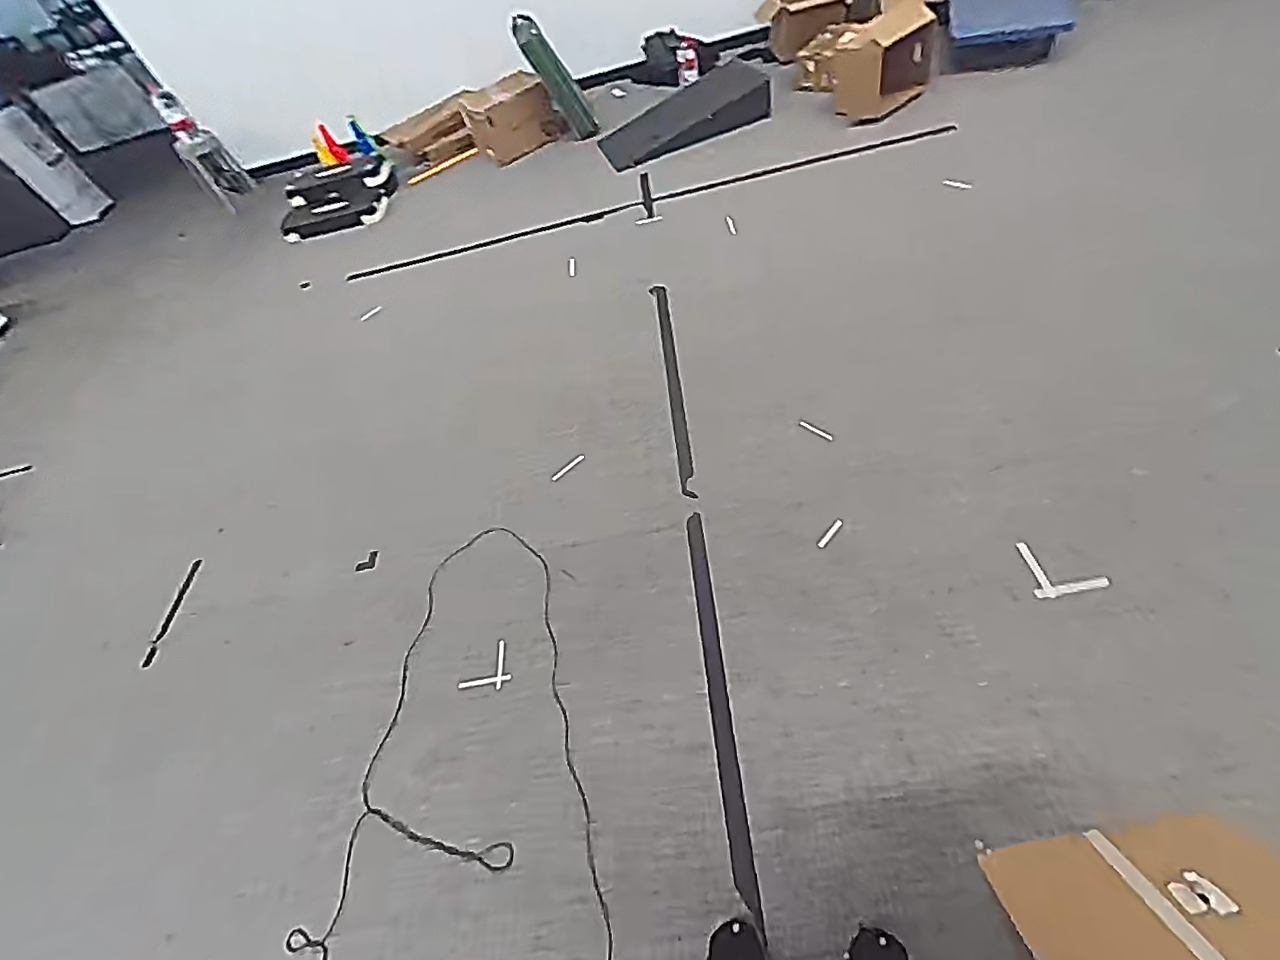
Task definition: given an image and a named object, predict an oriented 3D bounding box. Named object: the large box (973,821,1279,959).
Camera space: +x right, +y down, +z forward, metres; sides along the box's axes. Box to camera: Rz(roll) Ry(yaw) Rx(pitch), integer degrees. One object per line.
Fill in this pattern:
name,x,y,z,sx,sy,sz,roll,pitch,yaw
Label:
large box,0.644,0.657,0.566,0.320,0.408,0.320,-19,86,10
